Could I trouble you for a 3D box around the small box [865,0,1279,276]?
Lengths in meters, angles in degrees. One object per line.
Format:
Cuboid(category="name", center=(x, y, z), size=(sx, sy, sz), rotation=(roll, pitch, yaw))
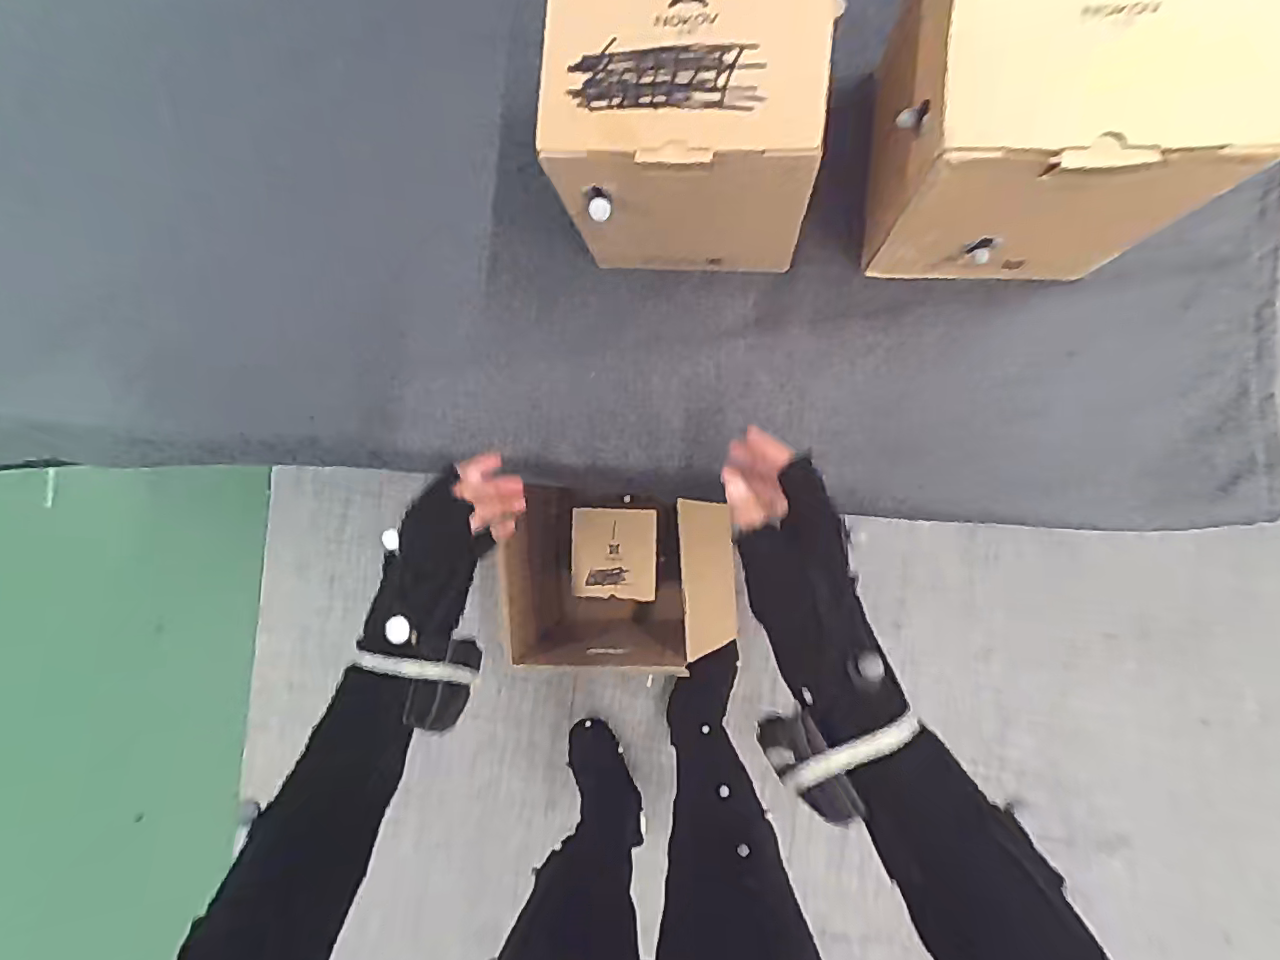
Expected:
Cuboid(category="small box", center=(0.257, -0.254, 0.357), size=(0.168, 0.176, 0.179), rotation=(3, 91, 9))
